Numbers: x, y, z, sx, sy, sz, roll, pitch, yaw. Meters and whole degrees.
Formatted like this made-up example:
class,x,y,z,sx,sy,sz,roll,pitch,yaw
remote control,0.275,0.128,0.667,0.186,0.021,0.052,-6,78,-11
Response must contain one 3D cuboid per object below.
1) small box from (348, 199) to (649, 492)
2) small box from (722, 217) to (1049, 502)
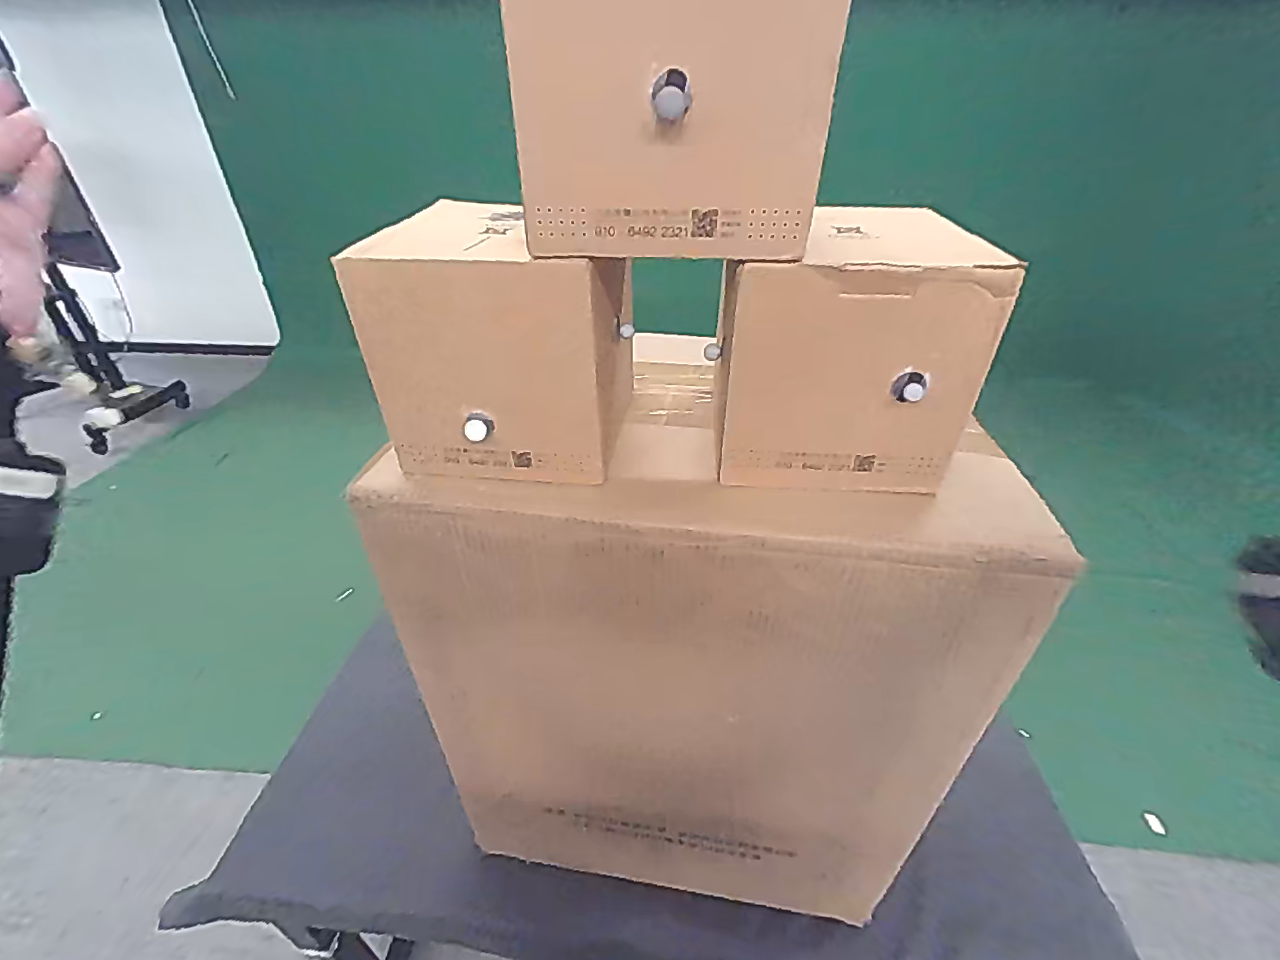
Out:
class,x,y,z,sx,sy,sz,roll,pitch,yaw
small box,-0.086,-0.114,0.431,0.168,0.176,0.179,5,38,8
small box,0.158,-0.099,0.425,0.168,0.176,0.179,4,37,2
